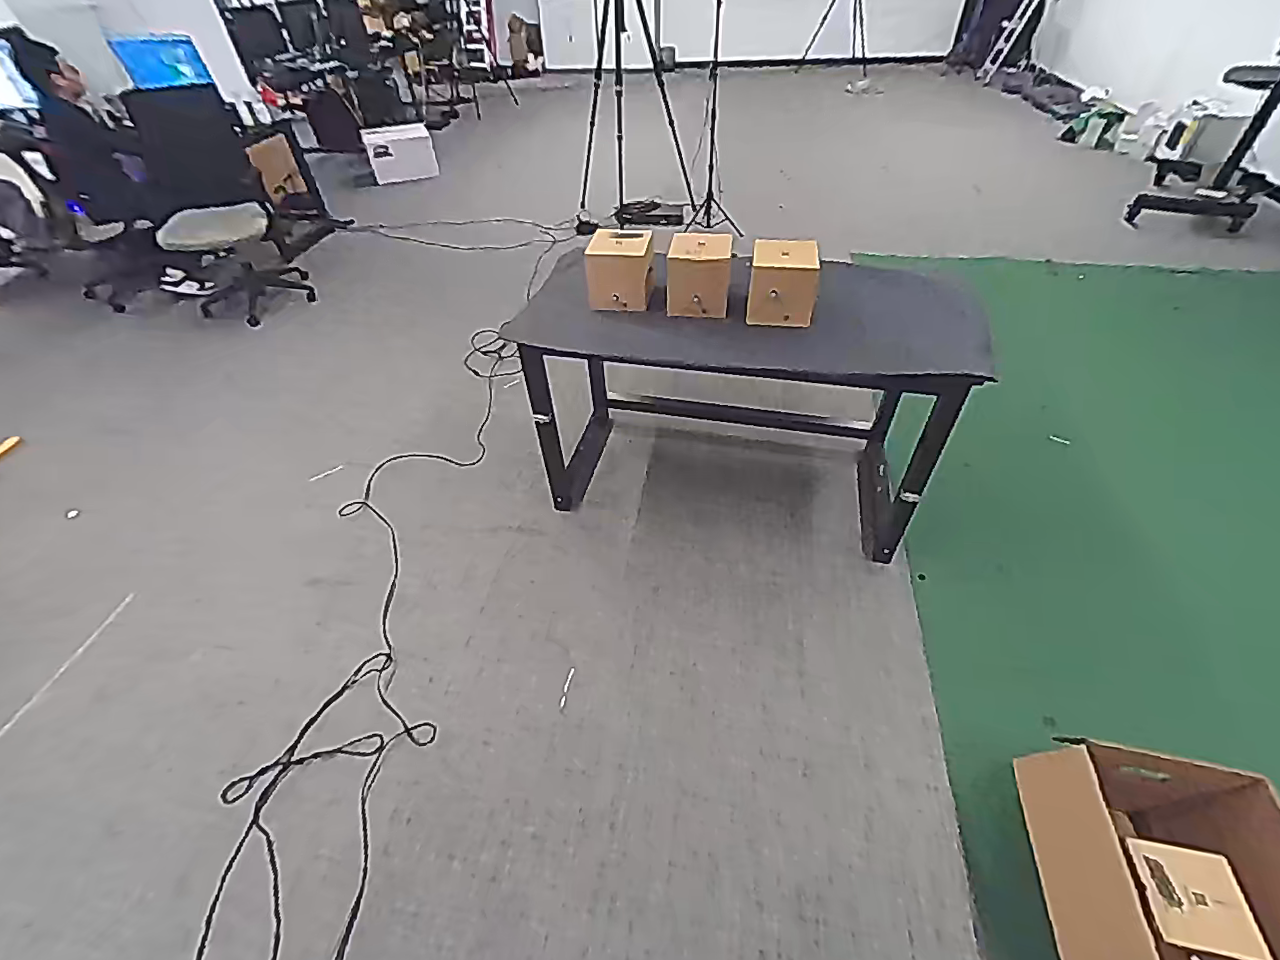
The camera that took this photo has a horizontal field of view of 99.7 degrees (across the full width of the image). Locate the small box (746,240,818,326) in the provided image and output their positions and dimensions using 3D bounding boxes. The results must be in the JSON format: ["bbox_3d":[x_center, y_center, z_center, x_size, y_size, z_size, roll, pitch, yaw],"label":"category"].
[{"bbox_3d":[0.379,-0.531,1.460,0.168,0.176,0.179,5,45,9],"label":"small box"}]

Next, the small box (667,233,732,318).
[{"bbox_3d":[0.165,-0.573,1.512,0.168,0.176,0.179,5,45,8],"label":"small box"}]
